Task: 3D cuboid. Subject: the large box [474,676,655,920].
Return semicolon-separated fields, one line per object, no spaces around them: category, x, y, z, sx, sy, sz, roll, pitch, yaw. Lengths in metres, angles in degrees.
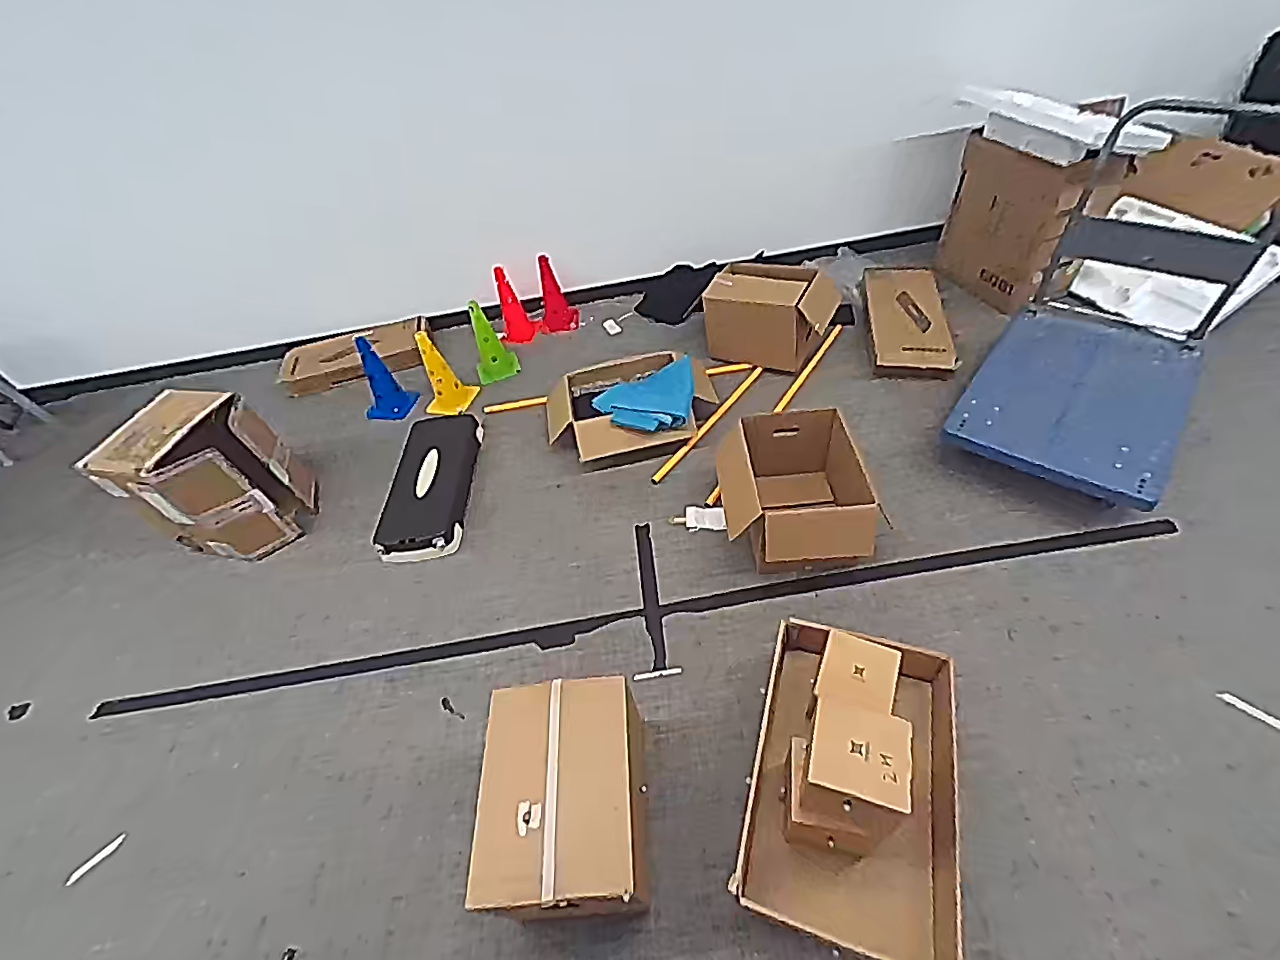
large box;-0.148;0.706;1.206;0.320;0.320;0.408;-9;48;3

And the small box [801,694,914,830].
small box;0.419;0.551;1.054;0.179;0.176;0.168;11;49;18
